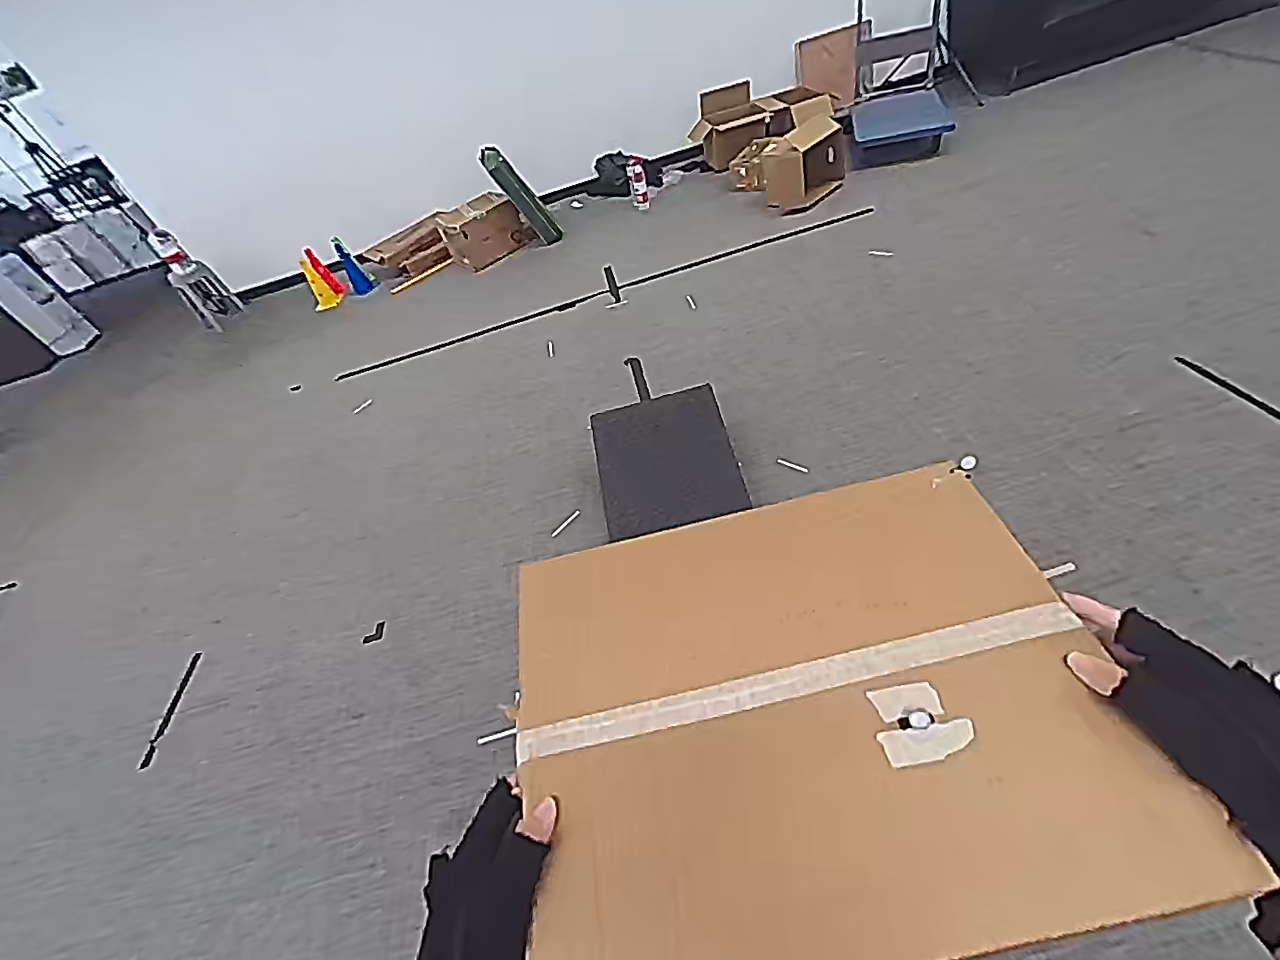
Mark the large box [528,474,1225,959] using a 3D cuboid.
[{"bbox_3d":[0.138,0.249,0.513,0.408,0.320,0.320,-14,49,1],"label":"large box"}]
